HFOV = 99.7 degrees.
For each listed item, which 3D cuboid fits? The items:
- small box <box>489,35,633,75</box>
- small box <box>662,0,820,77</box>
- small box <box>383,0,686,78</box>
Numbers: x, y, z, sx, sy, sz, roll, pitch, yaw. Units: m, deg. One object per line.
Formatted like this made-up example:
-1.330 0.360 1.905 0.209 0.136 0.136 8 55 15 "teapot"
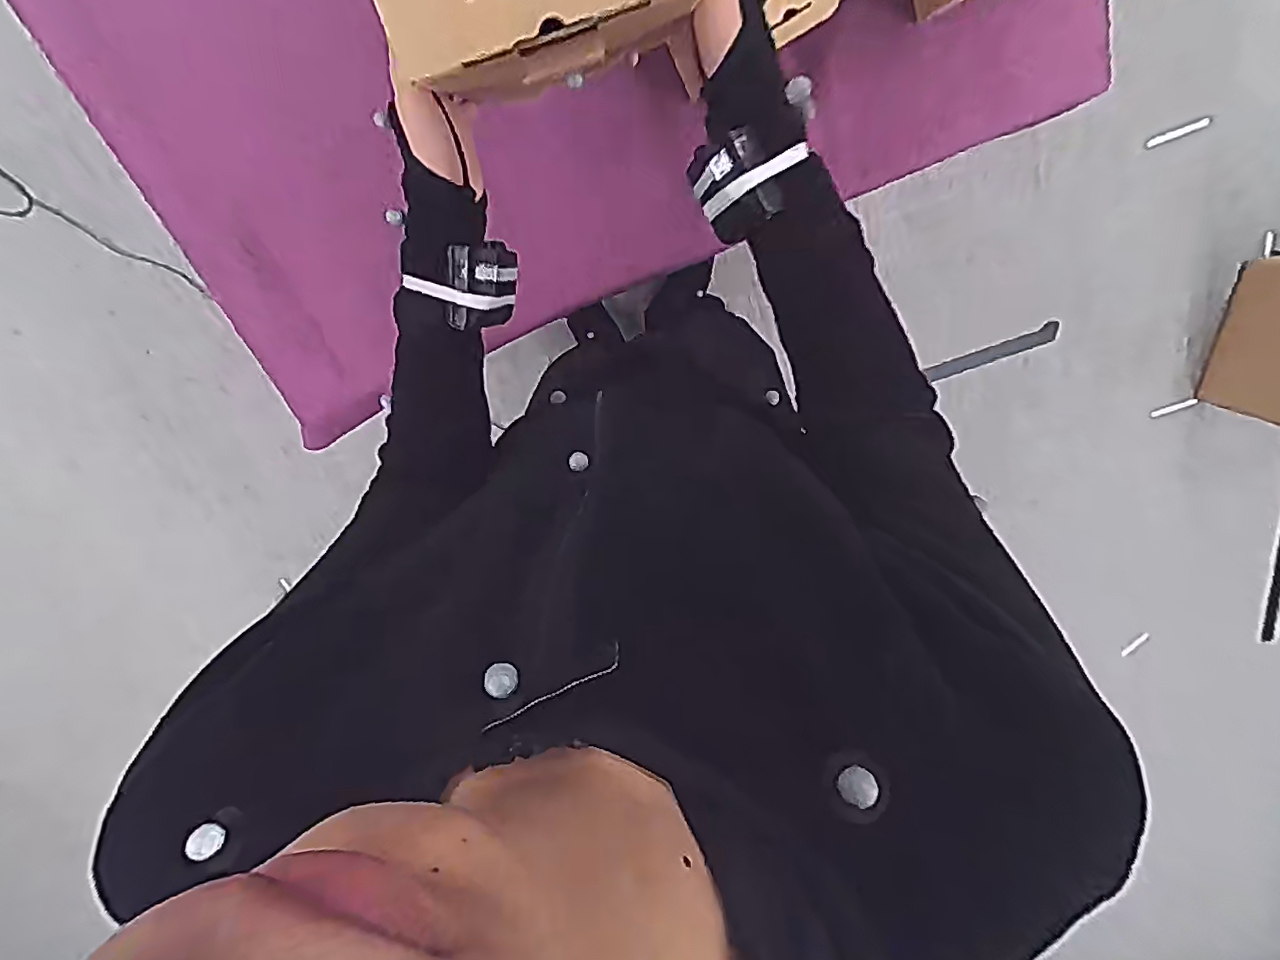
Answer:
-0.069 -0.447 0.424 0.168 0.176 0.179 -17 122 9 "small box"
0.098 -0.558 0.559 0.168 0.176 0.179 -27 113 9 "small box"
-0.065 -0.348 0.291 0.168 0.176 0.179 -13 123 7 "small box"
